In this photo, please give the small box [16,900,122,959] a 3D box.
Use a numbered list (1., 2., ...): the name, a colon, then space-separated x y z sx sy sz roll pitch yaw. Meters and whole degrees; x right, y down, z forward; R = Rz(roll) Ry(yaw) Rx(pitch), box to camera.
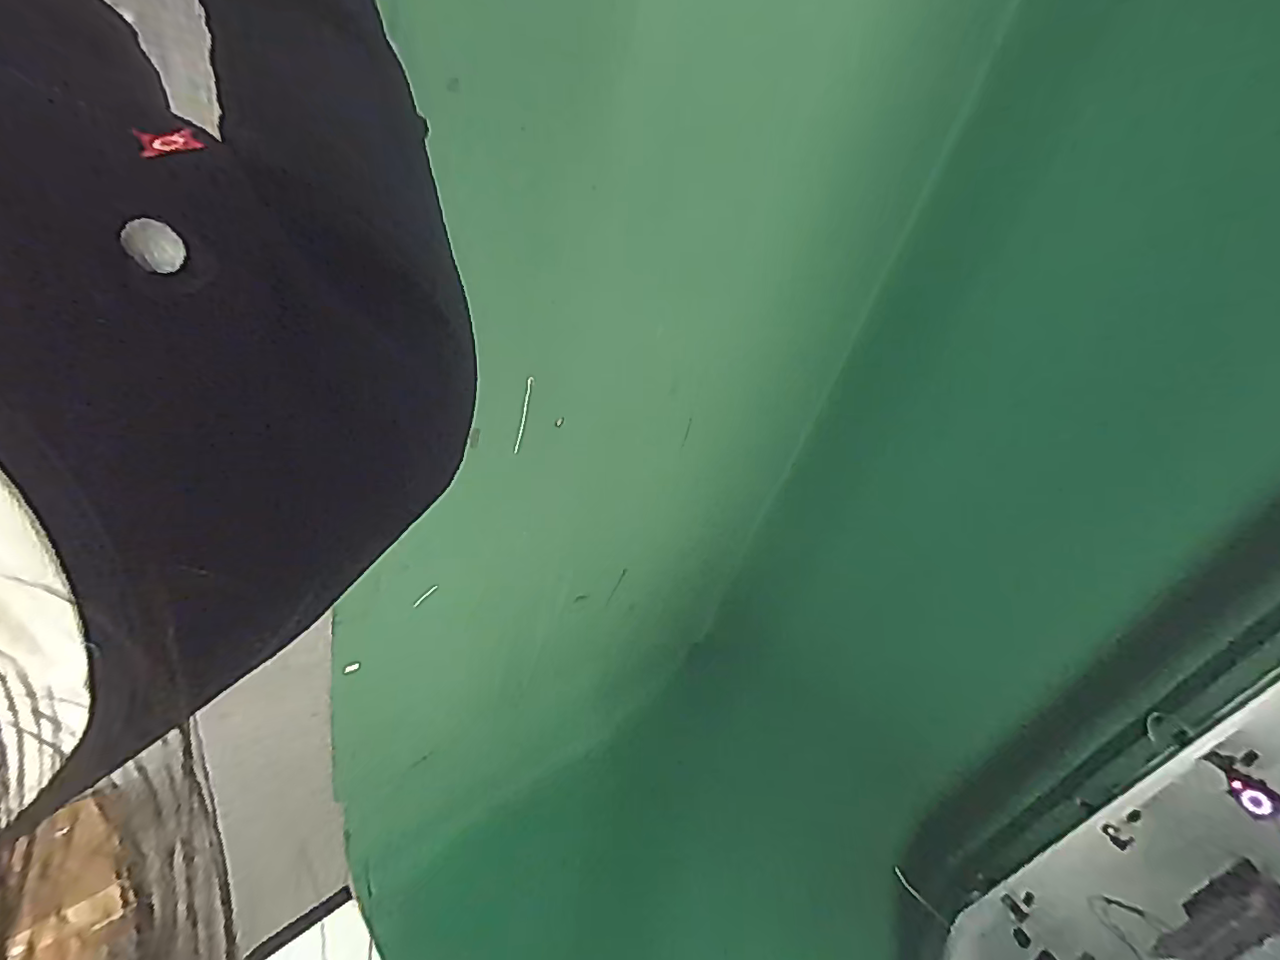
1. small box: -1.518 1.289 1.440 0.179 0.176 0.168 -16 129 -42
